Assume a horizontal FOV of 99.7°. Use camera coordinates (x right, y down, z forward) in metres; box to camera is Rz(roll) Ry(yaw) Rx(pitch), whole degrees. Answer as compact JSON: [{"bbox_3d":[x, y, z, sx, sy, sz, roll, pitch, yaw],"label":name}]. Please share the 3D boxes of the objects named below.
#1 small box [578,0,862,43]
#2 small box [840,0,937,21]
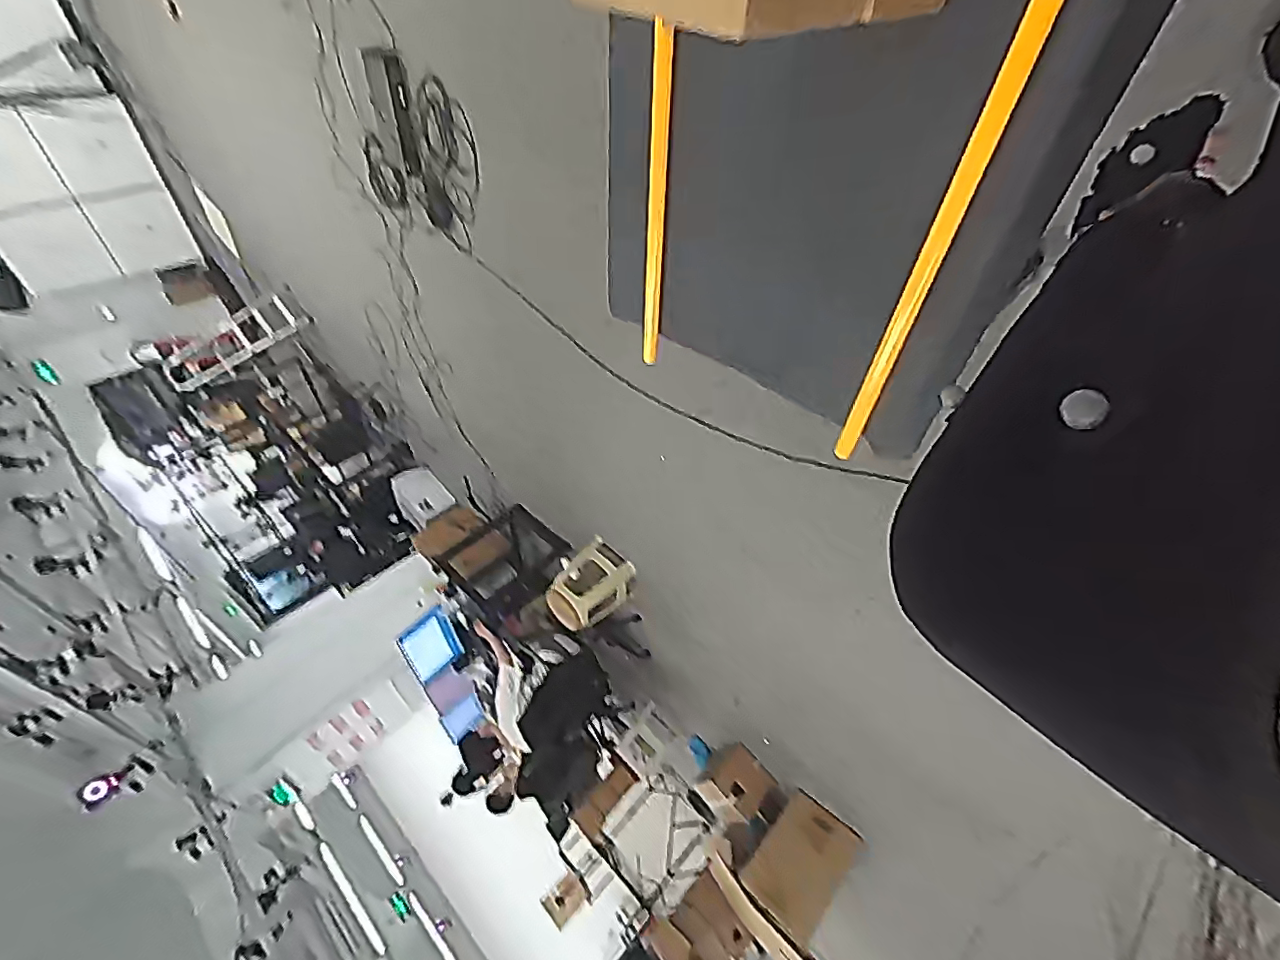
[{"bbox_3d":[0.068,-0.441,0.389,0.179,0.176,0.168,37,146,25],"label":"small box"},{"bbox_3d":[0.185,-0.521,0.473,0.179,0.176,0.168,33,144,28],"label":"small box"}]
